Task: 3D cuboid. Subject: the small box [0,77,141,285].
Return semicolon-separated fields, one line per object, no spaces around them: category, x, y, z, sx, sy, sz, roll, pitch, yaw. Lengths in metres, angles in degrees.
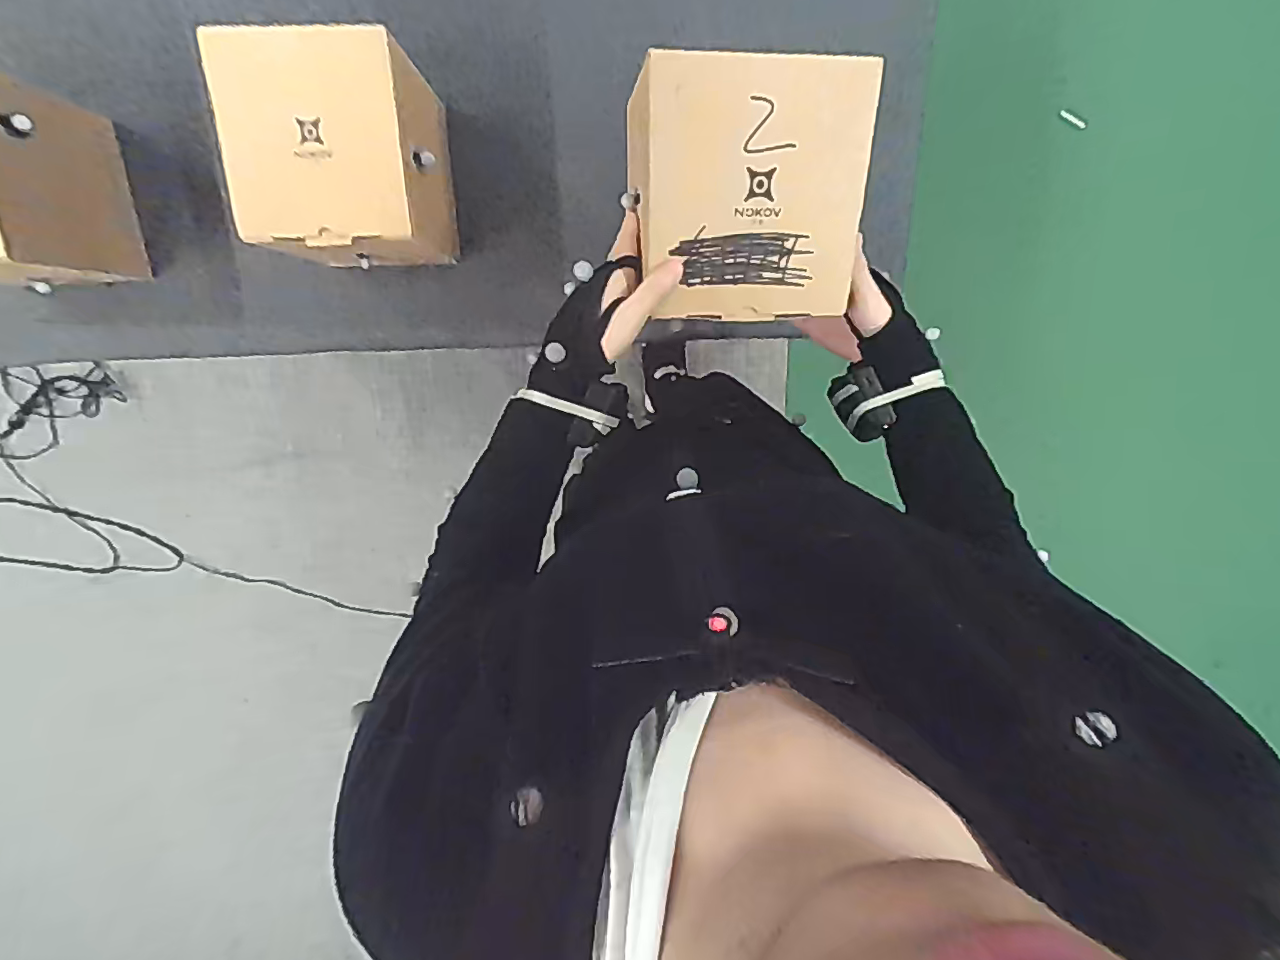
small box;-0.679;-0.303;0.554;0.168;0.176;0.179;-3;105;-2

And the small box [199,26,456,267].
small box;-0.305;-0.331;0.570;0.168;0.176;0.179;-2;104;-2
